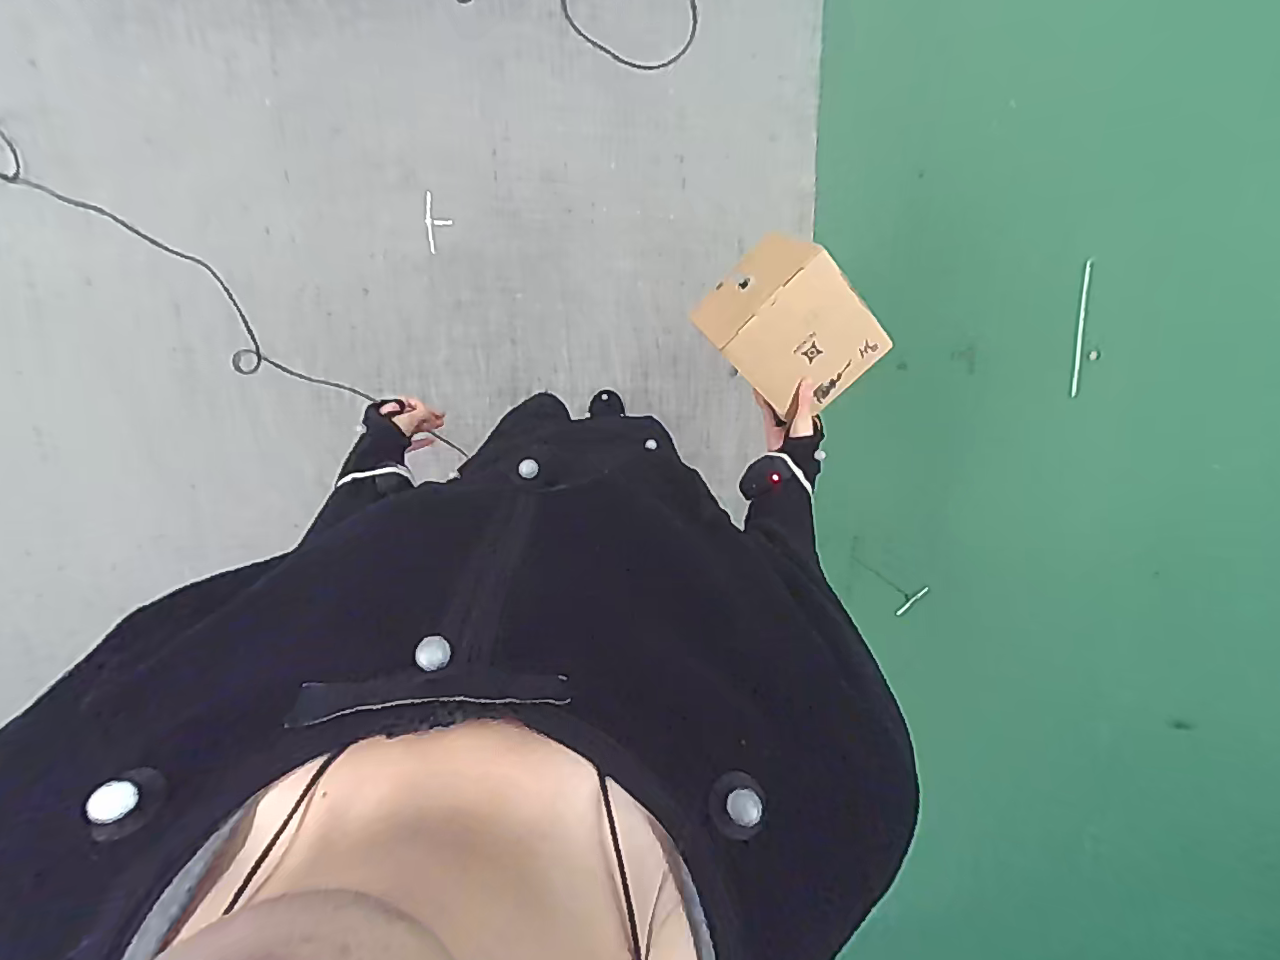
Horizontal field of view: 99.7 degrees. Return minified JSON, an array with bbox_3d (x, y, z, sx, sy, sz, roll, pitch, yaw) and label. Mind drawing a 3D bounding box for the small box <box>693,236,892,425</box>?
[{"bbox_3d":[0.199,-0.213,0.749,0.179,0.176,0.168,38,108,-28],"label":"small box"}]
